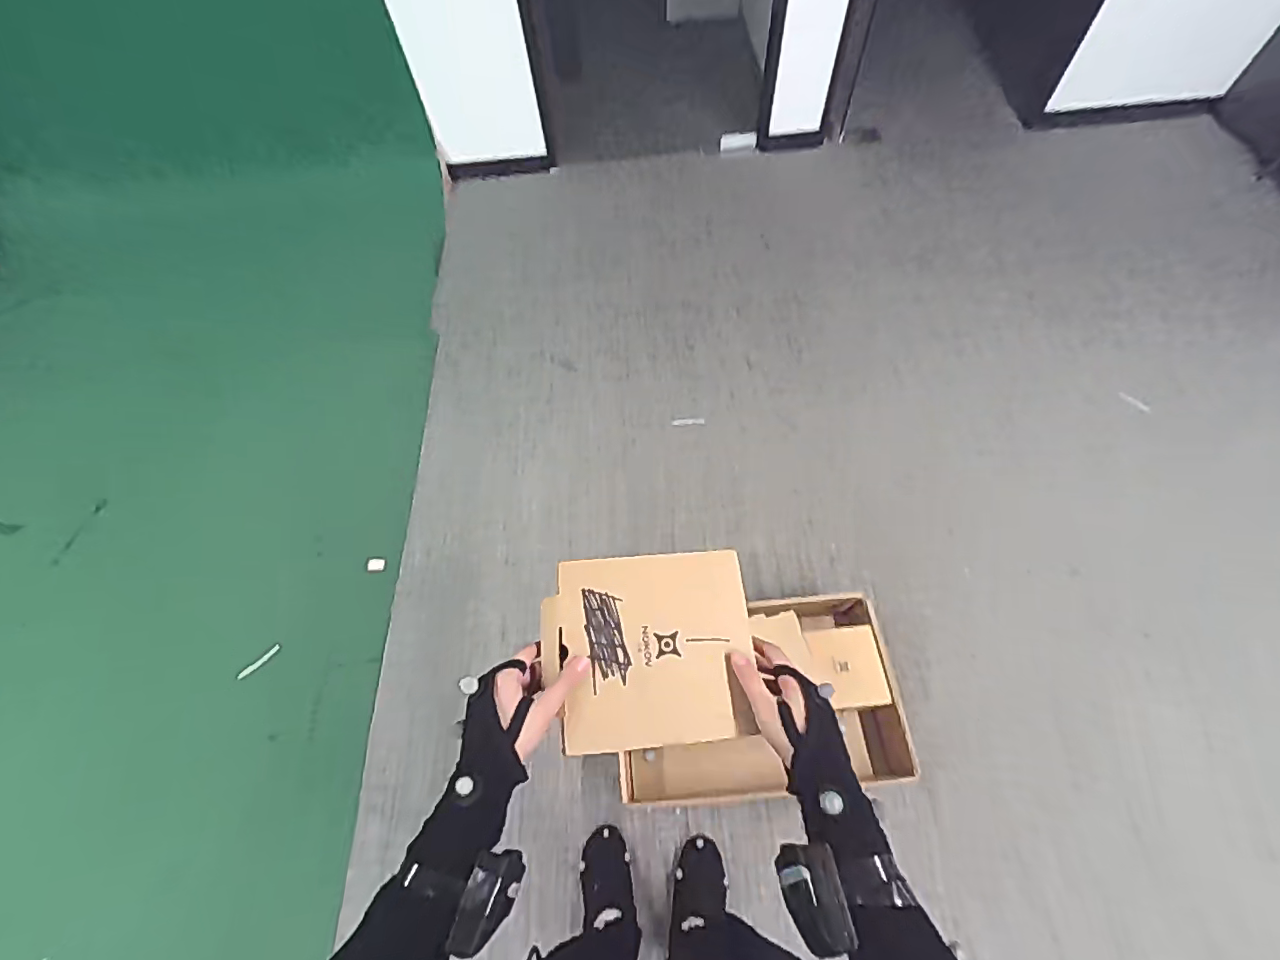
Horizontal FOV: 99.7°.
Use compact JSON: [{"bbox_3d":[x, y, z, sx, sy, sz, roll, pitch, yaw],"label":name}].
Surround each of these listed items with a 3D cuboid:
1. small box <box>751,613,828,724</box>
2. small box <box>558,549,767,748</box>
[{"bbox_3d":[0.256,0.396,1.107,0.168,0.176,0.179,-13,61,-3],"label":"small box"},{"bbox_3d":[0.011,0.178,0.553,0.179,0.176,0.168,-2,65,-7],"label":"small box"}]
